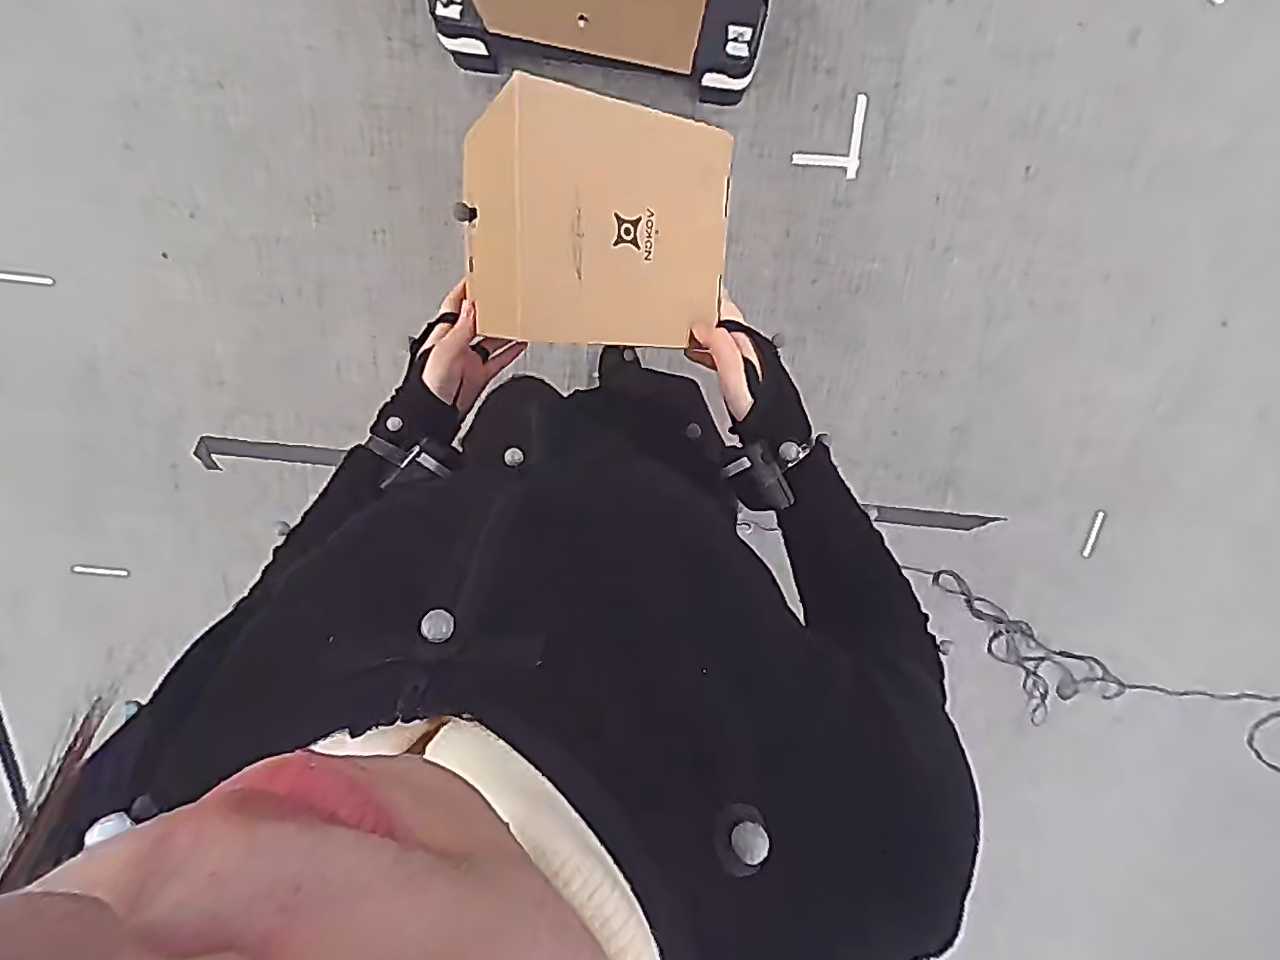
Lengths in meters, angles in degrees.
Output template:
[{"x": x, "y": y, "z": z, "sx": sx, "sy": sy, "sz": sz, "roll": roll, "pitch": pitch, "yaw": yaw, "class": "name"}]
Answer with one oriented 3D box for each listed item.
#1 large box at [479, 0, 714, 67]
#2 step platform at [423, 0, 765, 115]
[{"x": -0.061, "y": -0.929, "z": 0.865, "sx": 0.408, "sy": 0.320, "sz": 0.320, "roll": 10, "pitch": 106, "yaw": -2, "class": "large box"}, {"x": -0.087, "y": -0.998, "z": 1.094, "sx": 0.684, "sy": 0.204, "sz": 0.286, "roll": 11, "pitch": 107, "yaw": -2, "class": "step platform"}]
